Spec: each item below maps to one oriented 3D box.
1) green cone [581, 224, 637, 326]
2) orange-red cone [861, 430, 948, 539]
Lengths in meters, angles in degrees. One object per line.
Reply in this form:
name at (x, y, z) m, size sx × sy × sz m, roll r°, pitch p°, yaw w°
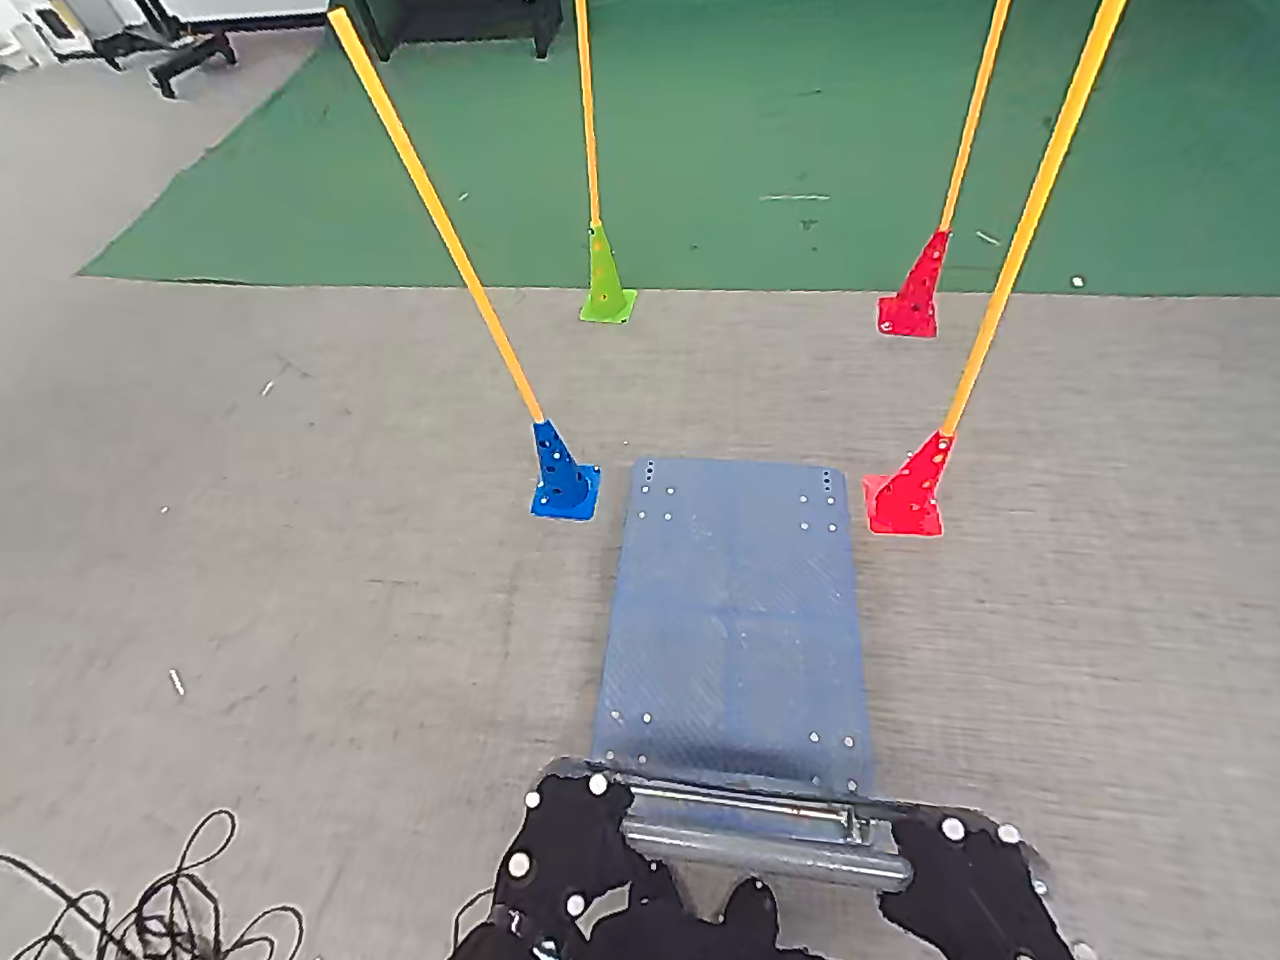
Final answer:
green cone at (-0.140, -0.792, 2.047) m, size 0.202 × 0.368 × 0.200 m, roll 7°, pitch 58°, yaw 11°
orange-red cone at (0.749, -0.010, 1.463) m, size 0.199 × 0.360 × 0.198 m, roll 2°, pitch 57°, yaw 9°
